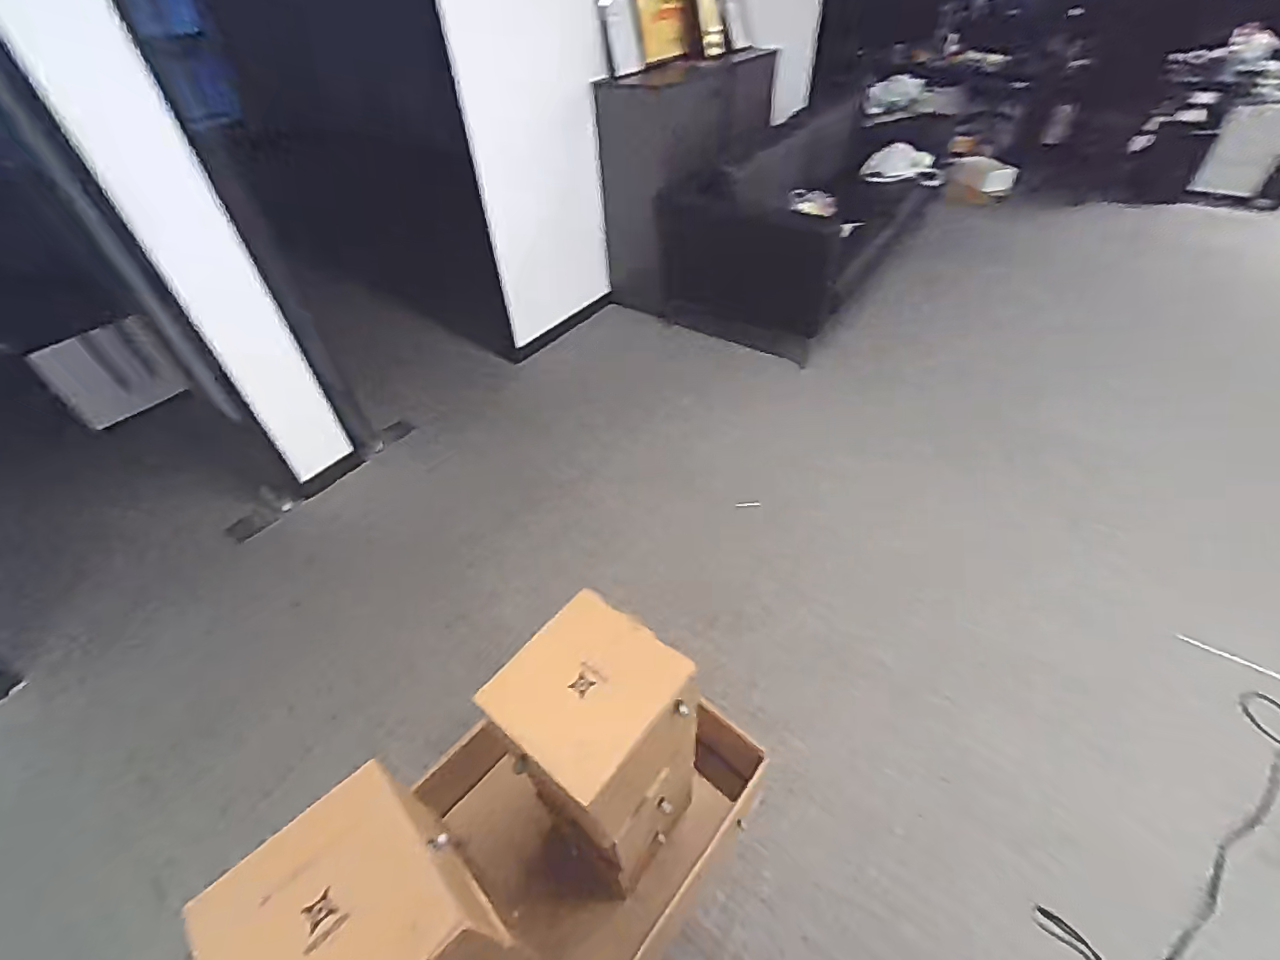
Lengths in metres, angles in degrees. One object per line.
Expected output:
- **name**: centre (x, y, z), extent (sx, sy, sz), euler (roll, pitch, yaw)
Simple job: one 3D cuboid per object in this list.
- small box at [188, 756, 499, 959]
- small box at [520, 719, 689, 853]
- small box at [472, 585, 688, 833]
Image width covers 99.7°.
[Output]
- **small box**: centre (-0.254, 0.403, 0.496), extent (0.168, 0.176, 0.179), euler (-35, 53, -29)
- **small box**: centre (-0.051, 0.376, 0.748), extent (0.179, 0.176, 0.168), euler (30, 53, 27)
- **small box**: centre (-0.057, 0.265, 0.628), extent (0.168, 0.176, 0.179), euler (29, 53, 28)
